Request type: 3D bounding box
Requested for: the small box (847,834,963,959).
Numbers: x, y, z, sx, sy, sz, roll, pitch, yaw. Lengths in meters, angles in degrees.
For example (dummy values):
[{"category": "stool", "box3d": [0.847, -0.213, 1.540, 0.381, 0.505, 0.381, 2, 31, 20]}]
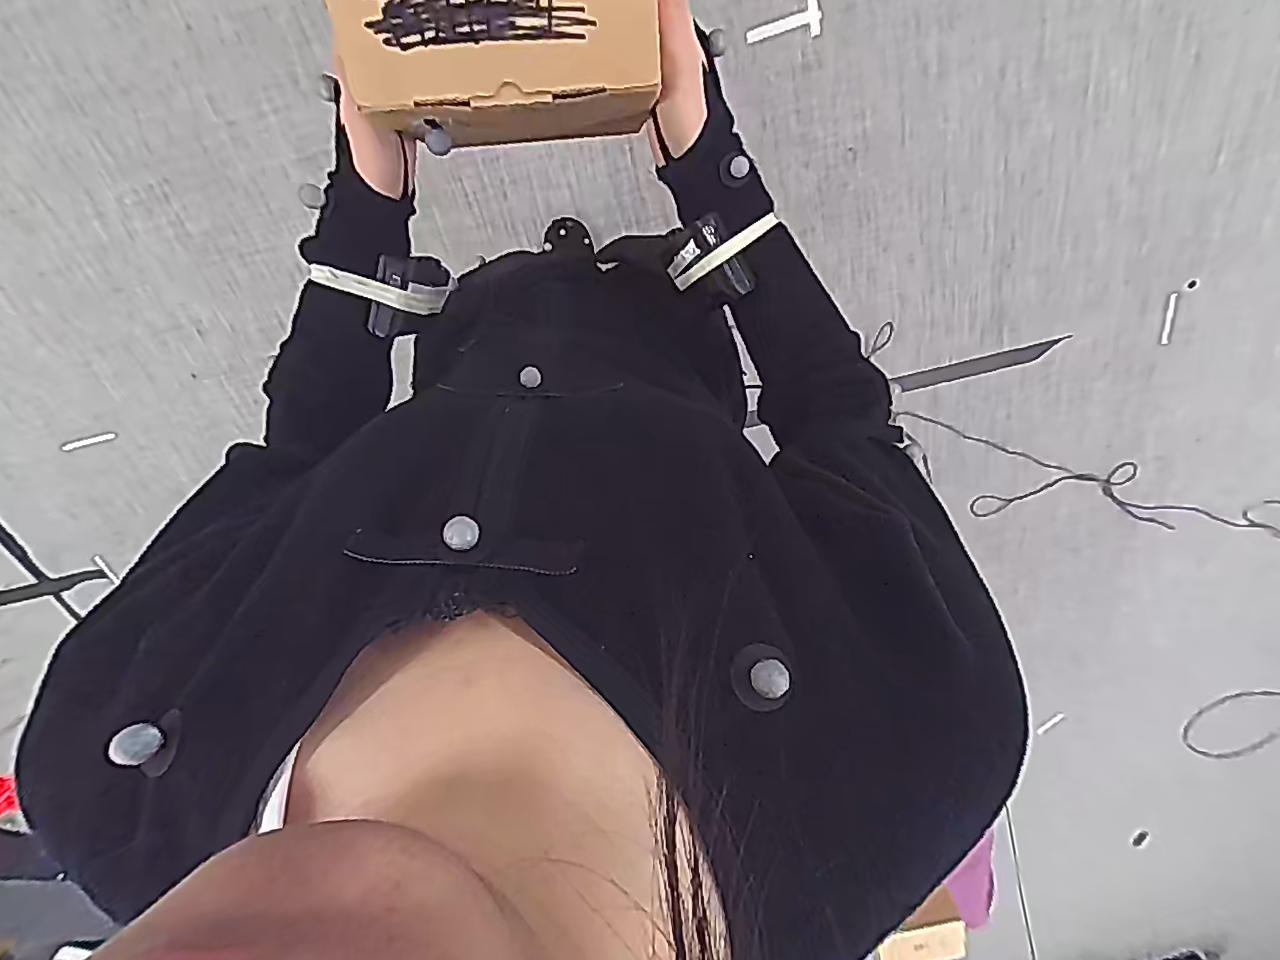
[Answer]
[{"category": "small box", "box3d": [0.563, 0.908, 1.168, 0.179, 0.176, 0.168, -16, 118, 4]}]
